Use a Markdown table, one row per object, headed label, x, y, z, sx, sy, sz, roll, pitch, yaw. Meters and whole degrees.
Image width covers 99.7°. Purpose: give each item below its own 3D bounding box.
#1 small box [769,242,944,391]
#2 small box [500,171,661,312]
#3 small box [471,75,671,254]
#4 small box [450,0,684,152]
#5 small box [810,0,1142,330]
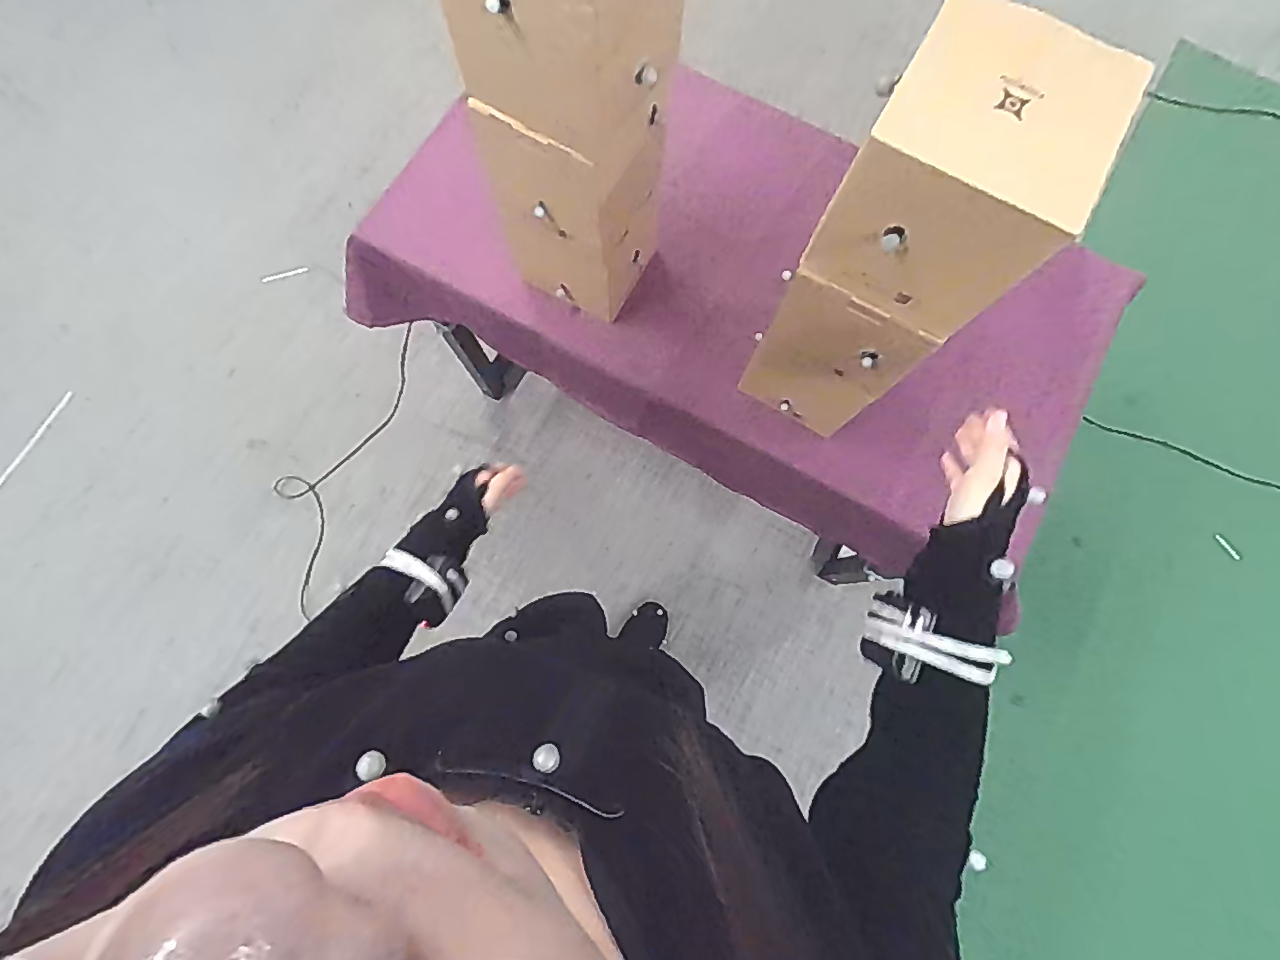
| label | x | y | z | sx | sy | sz | roll | pitch | yaw |
| --- | --- | --- | --- | --- | --- | --- | --- | --- | --- |
| small box | 0.272 | -0.234 | 0.646 | 0.168 | 0.176 | 0.179 | 29 | 79 | 4 |
| small box | -0.086 | -0.390 | 0.839 | 0.179 | 0.176 | 0.168 | 27 | 78 | 3 |
| small box | -0.079 | -0.430 | 0.679 | 0.168 | 0.176 | 0.179 | 29 | 78 | 5 |
| small box | -0.069 | -0.464 | 0.518 | 0.179 | 0.176 | 0.168 | 31 | 78 | 4 |
| small box | 0.276 | -0.269 | 0.488 | 0.168 | 0.176 | 0.179 | 29 | 78 | 4 |
